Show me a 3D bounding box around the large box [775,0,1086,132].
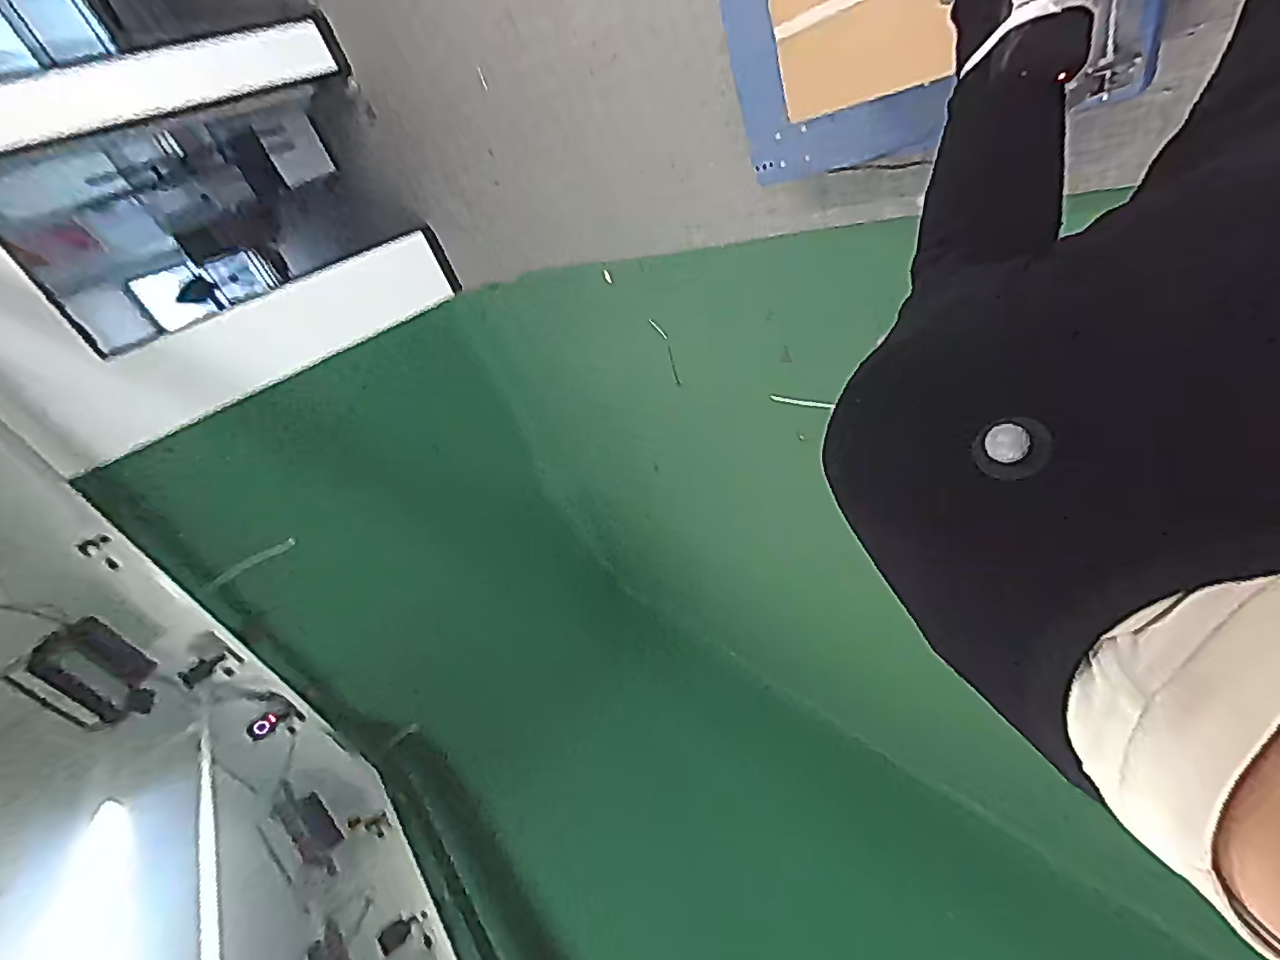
[{"bbox_3d":[0.506,-0.886,0.962,0.408,0.320,0.320,21,139,49],"label":"large box"}]
